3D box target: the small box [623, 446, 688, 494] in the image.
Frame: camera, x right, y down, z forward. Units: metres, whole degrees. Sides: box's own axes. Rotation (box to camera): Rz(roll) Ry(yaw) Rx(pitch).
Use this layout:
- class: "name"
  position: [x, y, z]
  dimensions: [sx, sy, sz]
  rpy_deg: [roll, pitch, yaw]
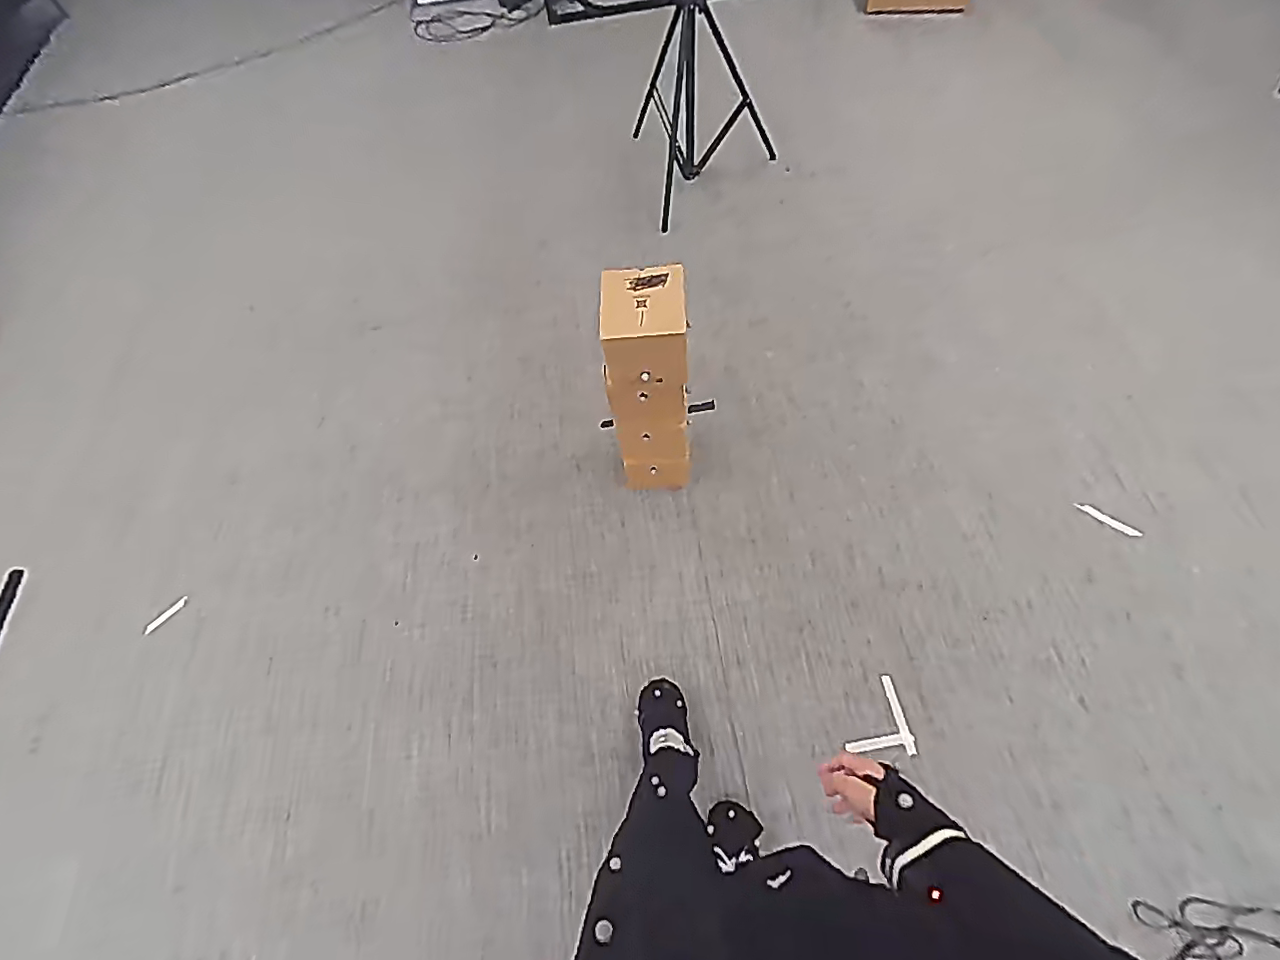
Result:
- class: "small box"
  position: [0.046, -0.068, 1.556]
  dimensions: [0.179, 0.176, 0.168]
  rpy_deg: [-3, 64, 5]

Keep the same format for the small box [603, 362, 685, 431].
- class: "small box"
  position: [0.014, -0.226, 1.272]
  dimensions: [0.179, 0.176, 0.168]
  rpy_deg: [-2, 65, 4]

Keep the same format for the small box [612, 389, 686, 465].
- class: "small box"
  position: [0.030, -0.148, 1.413]
  dimensions: [0.179, 0.176, 0.168]
  rpy_deg: [0, 65, 6]

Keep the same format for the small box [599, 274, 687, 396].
- class: "small box"
  position: [0.011, -0.296, 1.122]
  dimensions: [0.168, 0.176, 0.179]
  rpy_deg: [-3, 65, 6]
